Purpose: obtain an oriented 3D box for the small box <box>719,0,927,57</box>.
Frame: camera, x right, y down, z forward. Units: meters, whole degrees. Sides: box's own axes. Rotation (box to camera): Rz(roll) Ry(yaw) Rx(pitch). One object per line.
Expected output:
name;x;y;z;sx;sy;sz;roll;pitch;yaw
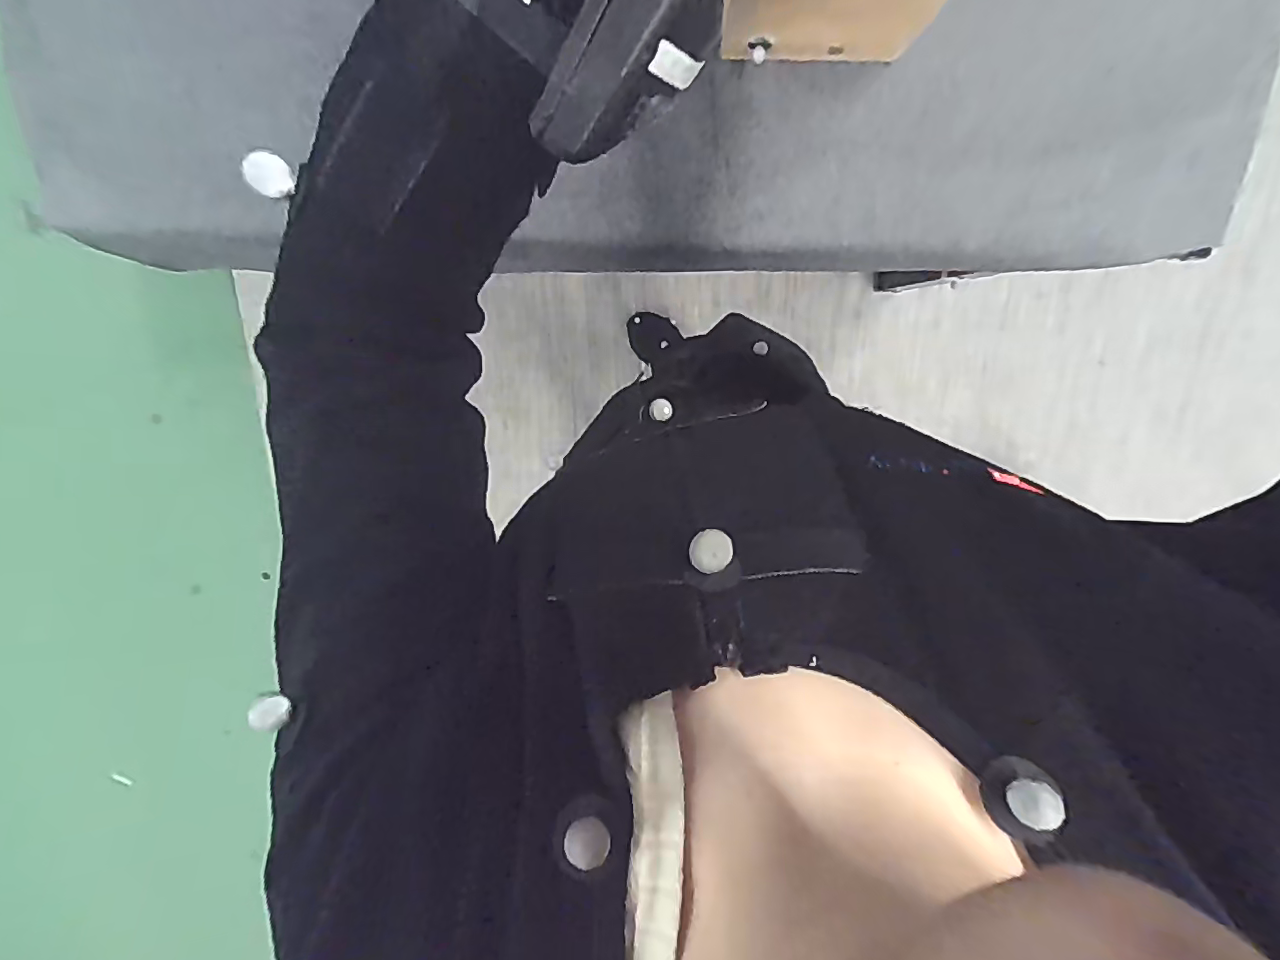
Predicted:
small box;0.153;-0.459;0.412;0.168;0.176;0.179;3;105;2
